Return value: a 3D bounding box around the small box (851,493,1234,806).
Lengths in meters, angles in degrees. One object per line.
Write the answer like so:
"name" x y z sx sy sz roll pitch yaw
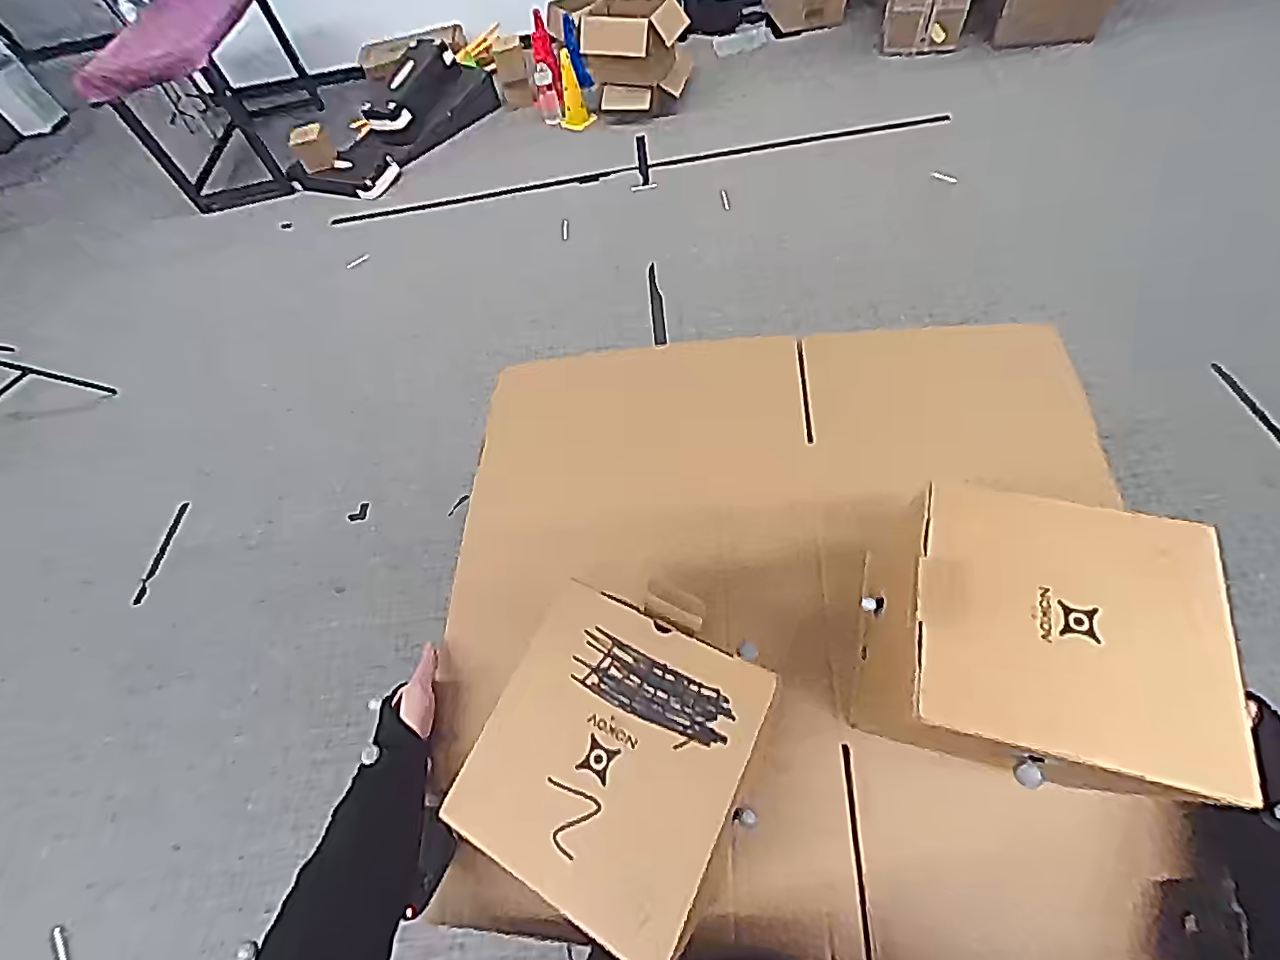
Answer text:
"small box" 0.282 0.130 0.424 0.179 0.176 0.168 10 66 13
